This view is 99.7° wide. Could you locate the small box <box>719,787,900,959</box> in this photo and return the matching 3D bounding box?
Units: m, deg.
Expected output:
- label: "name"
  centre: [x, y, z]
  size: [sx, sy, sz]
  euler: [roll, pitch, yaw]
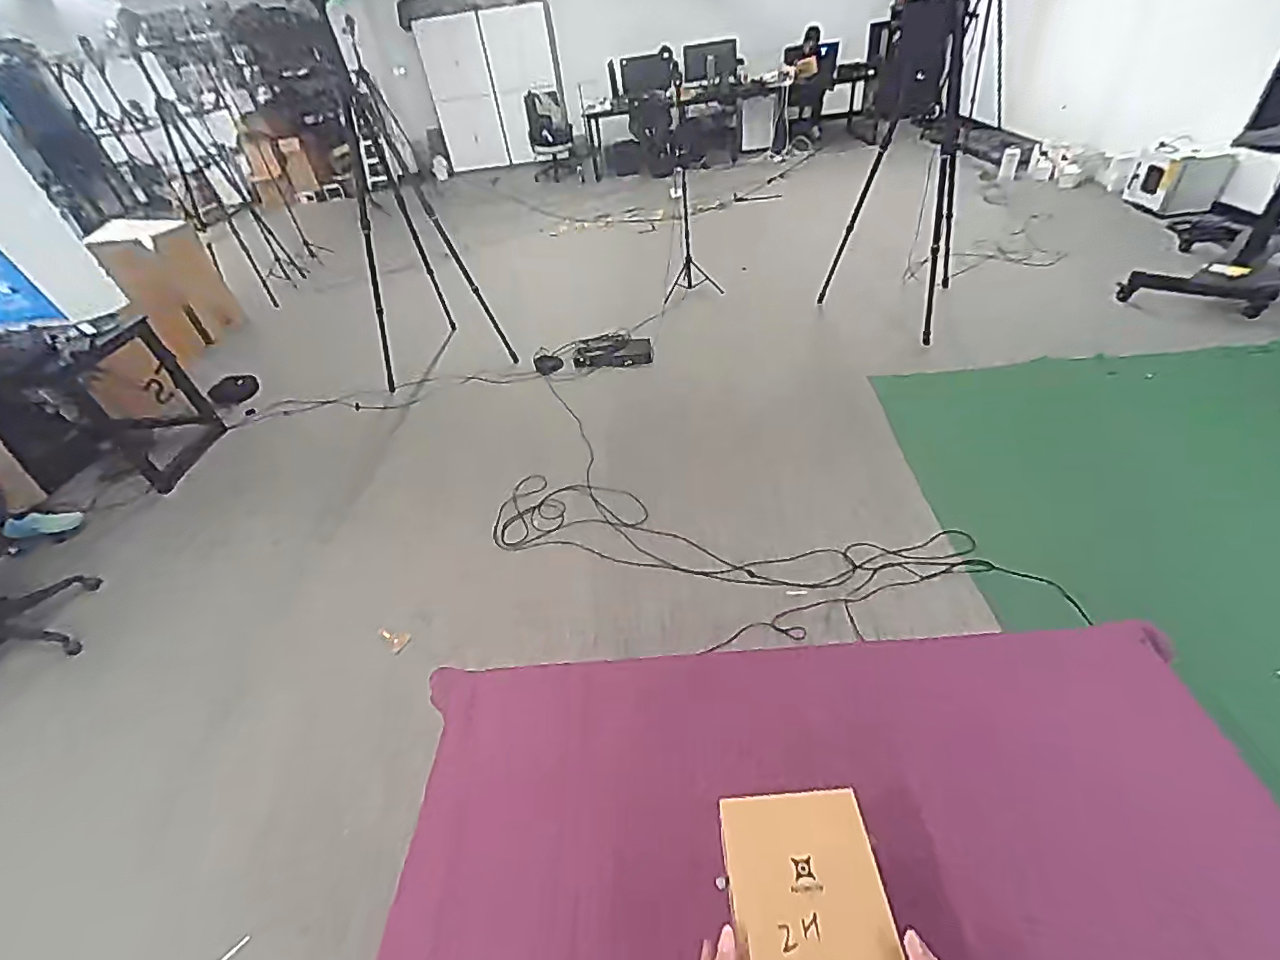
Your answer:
- label: "small box"
  centre: [0.186, 0.497, 0.649]
  size: [0.168, 0.176, 0.179]
  euler: [-6, 41, 4]
